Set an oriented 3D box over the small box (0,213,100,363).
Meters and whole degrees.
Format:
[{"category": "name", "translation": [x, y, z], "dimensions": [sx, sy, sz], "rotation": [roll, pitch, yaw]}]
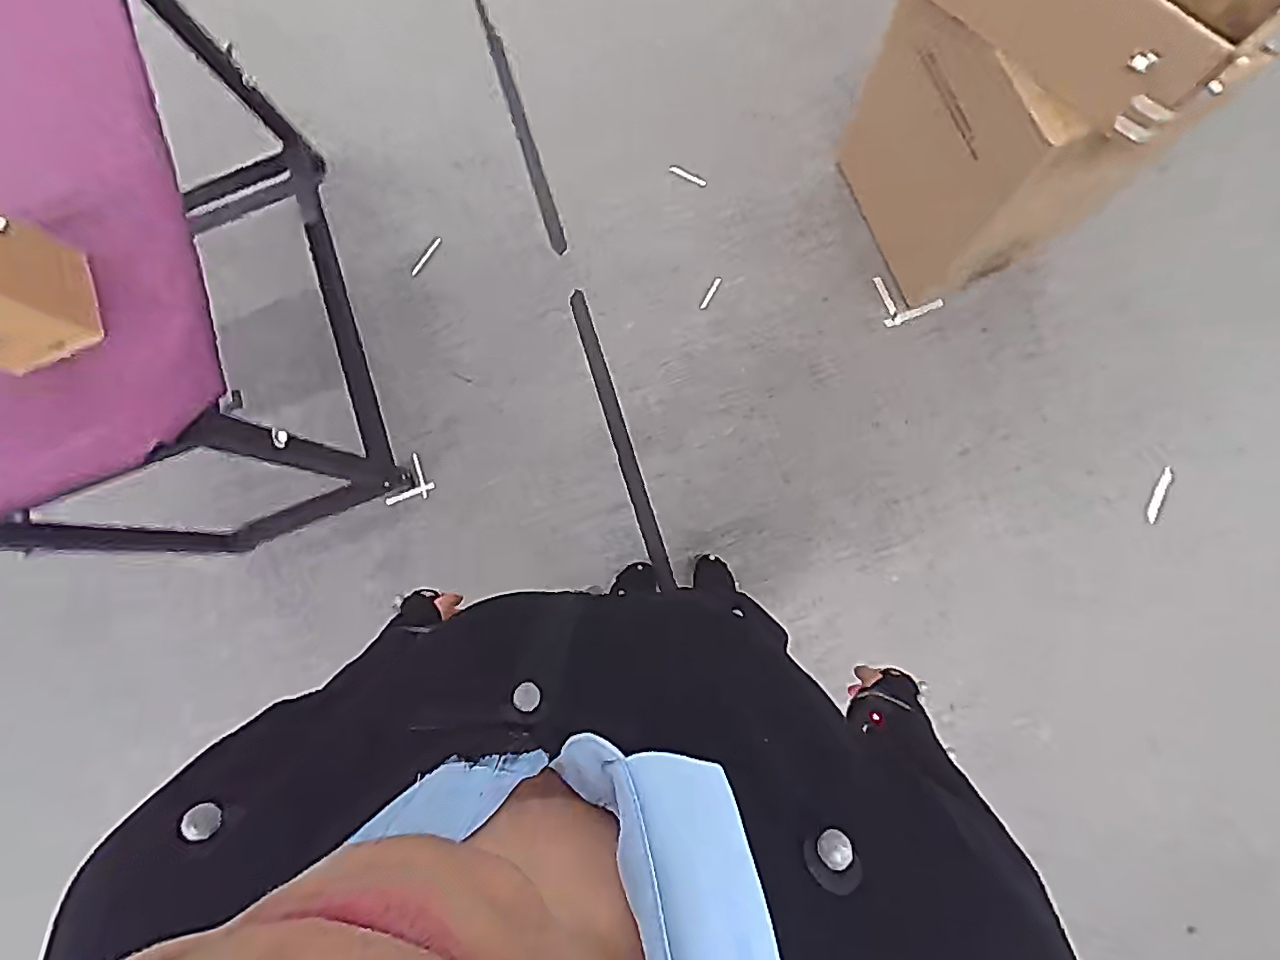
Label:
[{"category": "small box", "translation": [-1.016, -0.304, 0.853], "dimensions": [0.168, 0.176, 0.179], "rotation": [-22, 80, 1]}]
